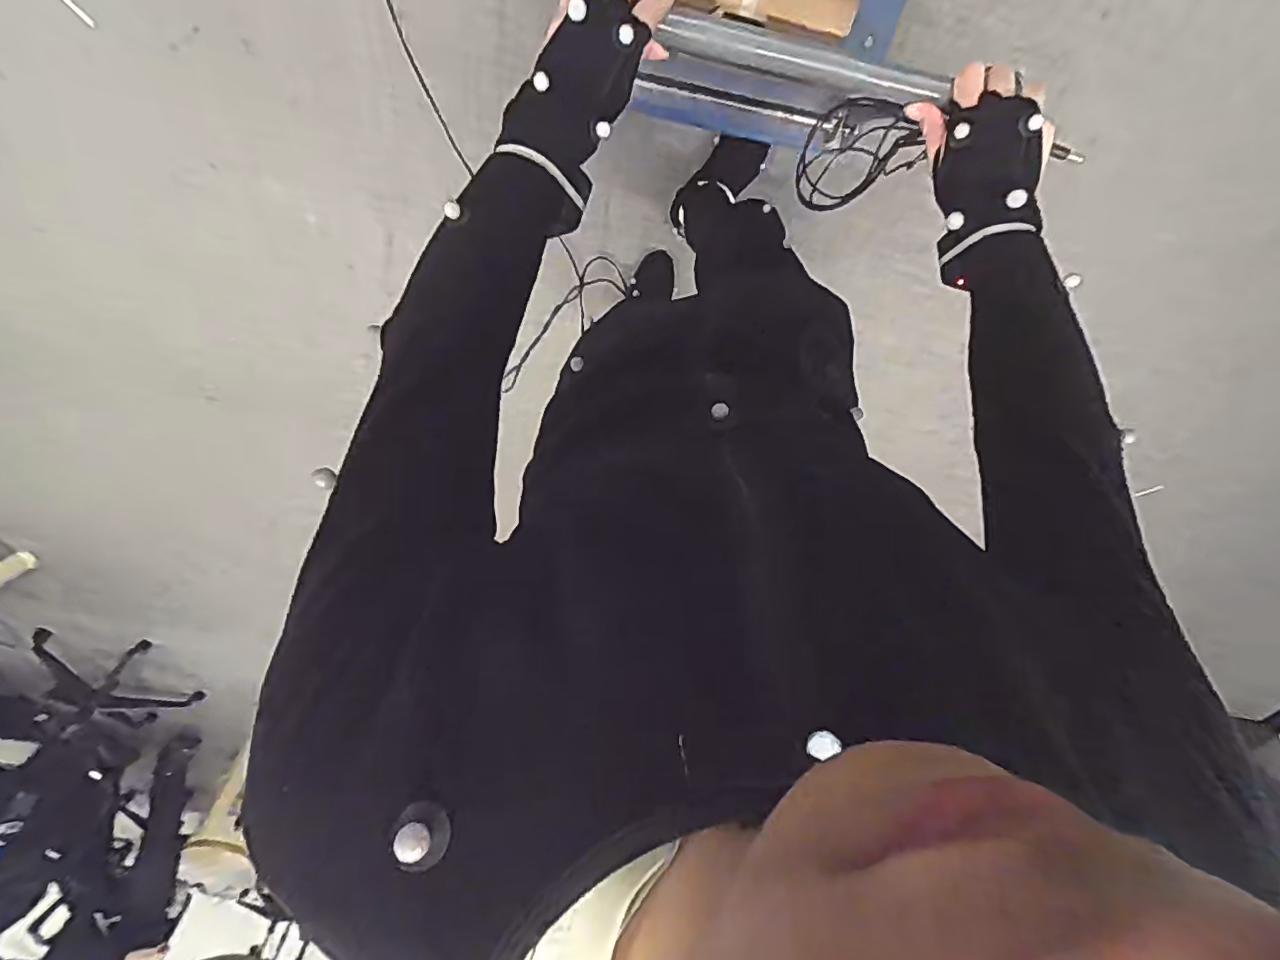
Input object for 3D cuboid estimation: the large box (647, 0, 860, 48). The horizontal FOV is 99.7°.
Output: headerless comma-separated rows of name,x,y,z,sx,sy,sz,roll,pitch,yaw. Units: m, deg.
large box,0.194,-0.914,0.770,0.320,0.320,0.408,11,123,-7
